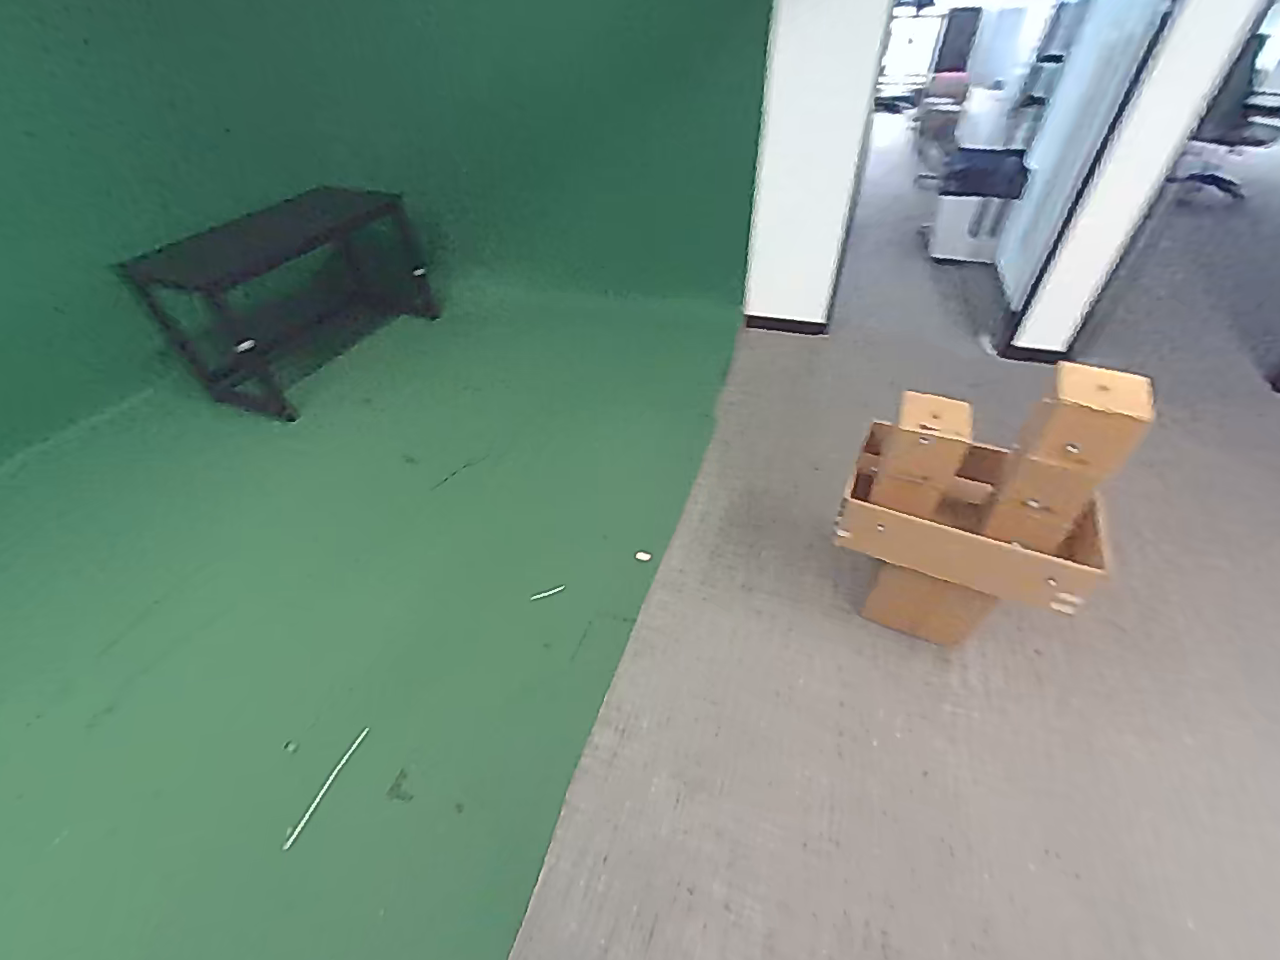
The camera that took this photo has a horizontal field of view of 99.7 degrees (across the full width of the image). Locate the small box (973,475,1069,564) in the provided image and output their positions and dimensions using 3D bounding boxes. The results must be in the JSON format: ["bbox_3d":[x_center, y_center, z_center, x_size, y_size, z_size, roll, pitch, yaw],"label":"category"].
[{"bbox_3d":[1.034,0.093,1.474,0.168,0.176,0.179,21,49,22],"label":"small box"}]

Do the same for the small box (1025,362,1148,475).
[{"bbox_3d":[1.020,-0.142,1.250,0.168,0.176,0.179,20,49,22],"label":"small box"}]

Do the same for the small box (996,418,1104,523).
[{"bbox_3d":[1.024,-0.025,1.362,0.168,0.176,0.179,20,49,22],"label":"small box"}]

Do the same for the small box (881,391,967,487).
[{"bbox_3d":[0.764,-0.111,1.461,0.168,0.176,0.179,15,46,18],"label":"small box"}]
